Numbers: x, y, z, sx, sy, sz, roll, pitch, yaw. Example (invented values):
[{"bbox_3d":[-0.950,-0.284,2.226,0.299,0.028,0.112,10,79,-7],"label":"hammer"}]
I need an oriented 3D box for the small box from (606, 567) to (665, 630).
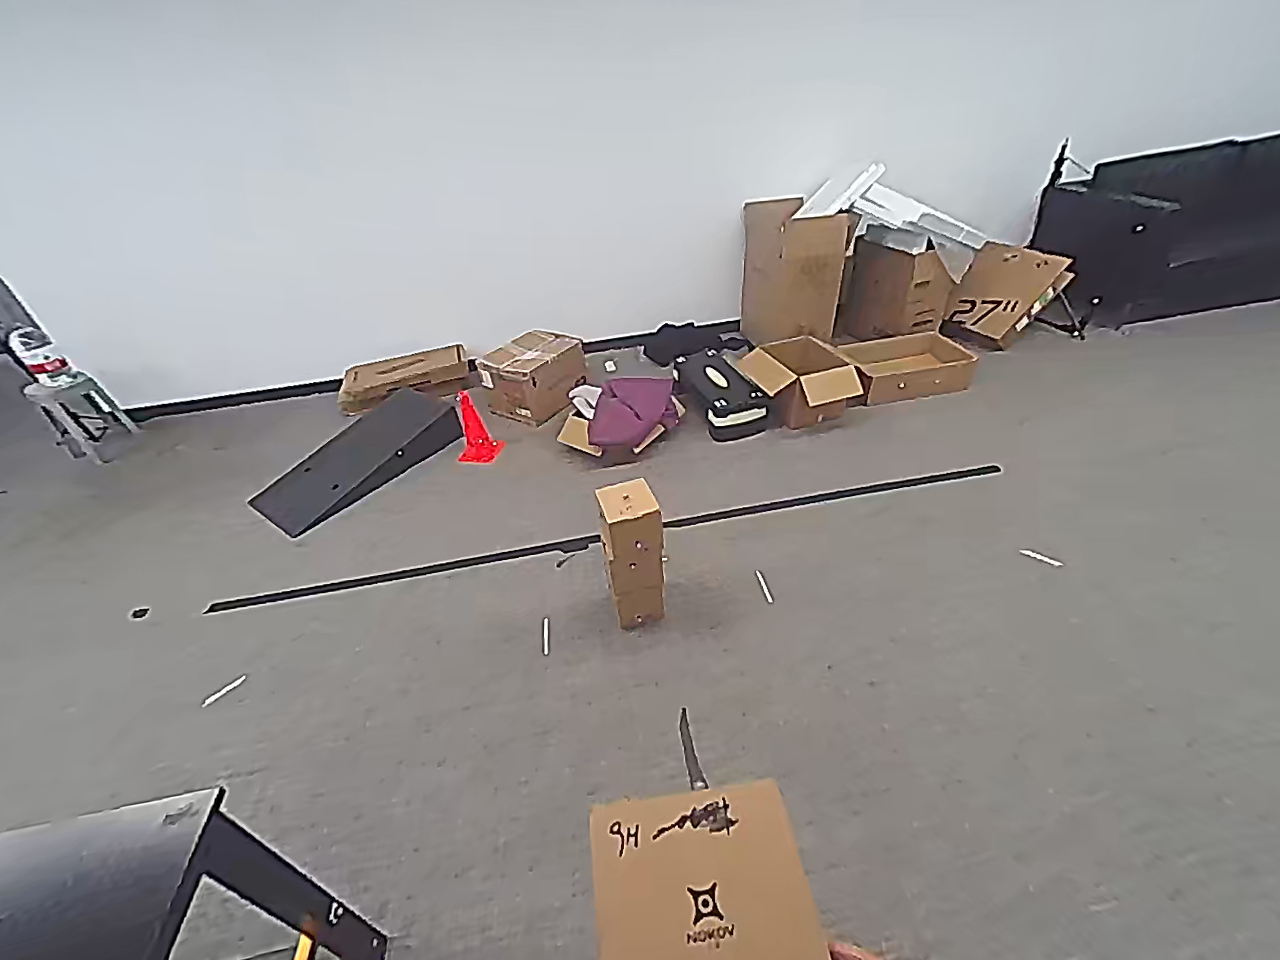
[{"bbox_3d":[-0.017,0.395,1.902,0.168,0.176,0.179,-14,39,-9],"label":"small box"}]

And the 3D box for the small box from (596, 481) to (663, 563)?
[{"bbox_3d":[-0.034,0.132,1.704,0.168,0.176,0.179,-15,38,-10],"label":"small box"}]

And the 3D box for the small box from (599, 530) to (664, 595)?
[{"bbox_3d":[-0.028,0.262,1.806,0.179,0.176,0.168,-12,37,-8],"label":"small box"}]

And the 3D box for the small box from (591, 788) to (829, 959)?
[{"bbox_3d":[0.052,0.388,0.446,0.168,0.176,0.179,-6,41,-5],"label":"small box"}]
